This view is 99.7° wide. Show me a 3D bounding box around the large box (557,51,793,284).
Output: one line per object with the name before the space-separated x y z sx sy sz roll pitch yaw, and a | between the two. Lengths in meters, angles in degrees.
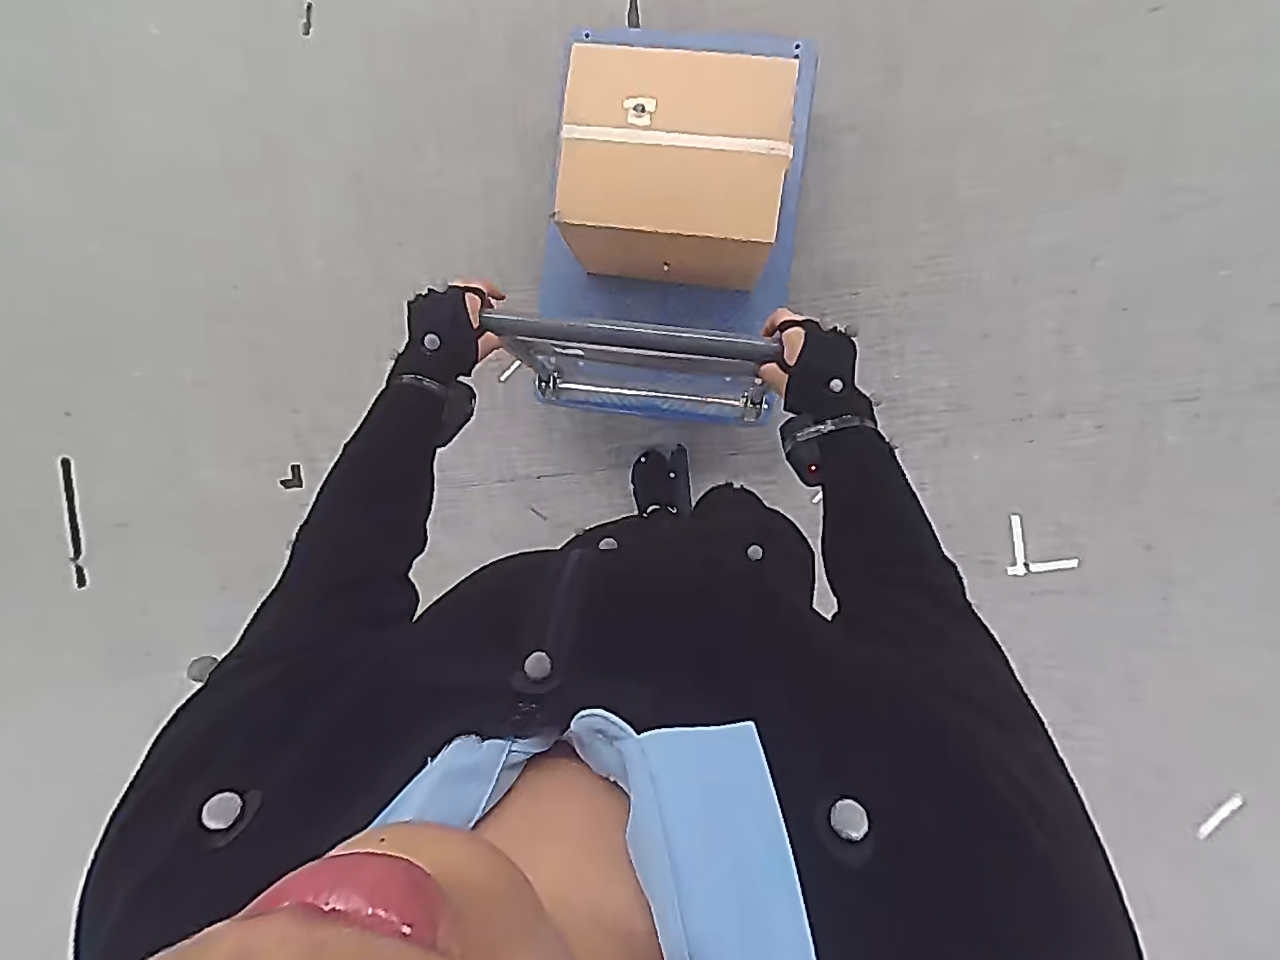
large box | 0.074 -0.617 1.122 0.408 0.320 0.320 8 94 5
